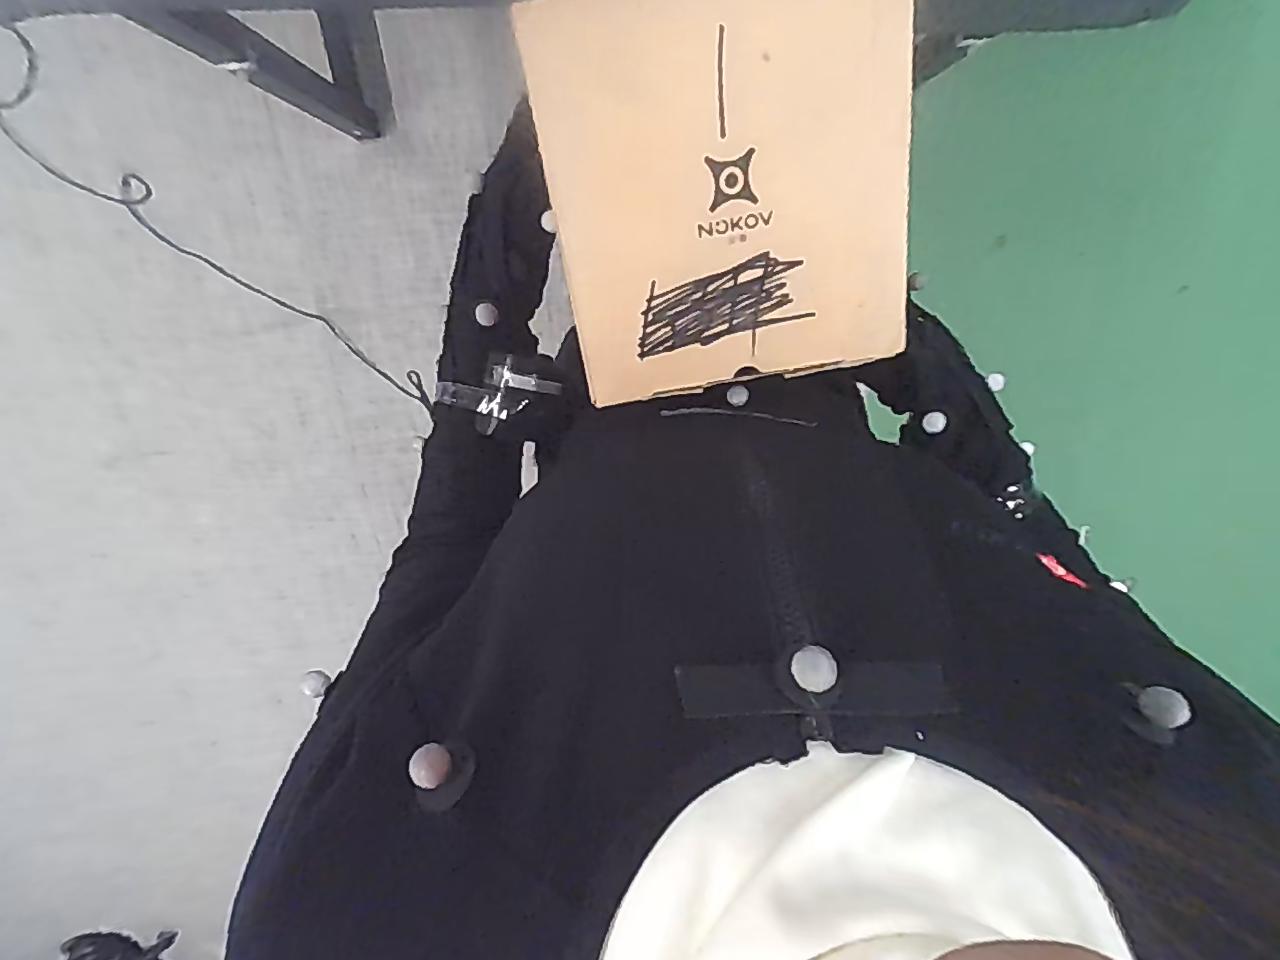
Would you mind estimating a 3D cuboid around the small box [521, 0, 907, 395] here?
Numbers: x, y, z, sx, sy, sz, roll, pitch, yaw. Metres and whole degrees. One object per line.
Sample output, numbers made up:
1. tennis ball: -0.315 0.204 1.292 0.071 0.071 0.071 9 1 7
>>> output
1. small box: 0.040 -0.169 0.333 0.168 0.176 0.179 -8 115 3
